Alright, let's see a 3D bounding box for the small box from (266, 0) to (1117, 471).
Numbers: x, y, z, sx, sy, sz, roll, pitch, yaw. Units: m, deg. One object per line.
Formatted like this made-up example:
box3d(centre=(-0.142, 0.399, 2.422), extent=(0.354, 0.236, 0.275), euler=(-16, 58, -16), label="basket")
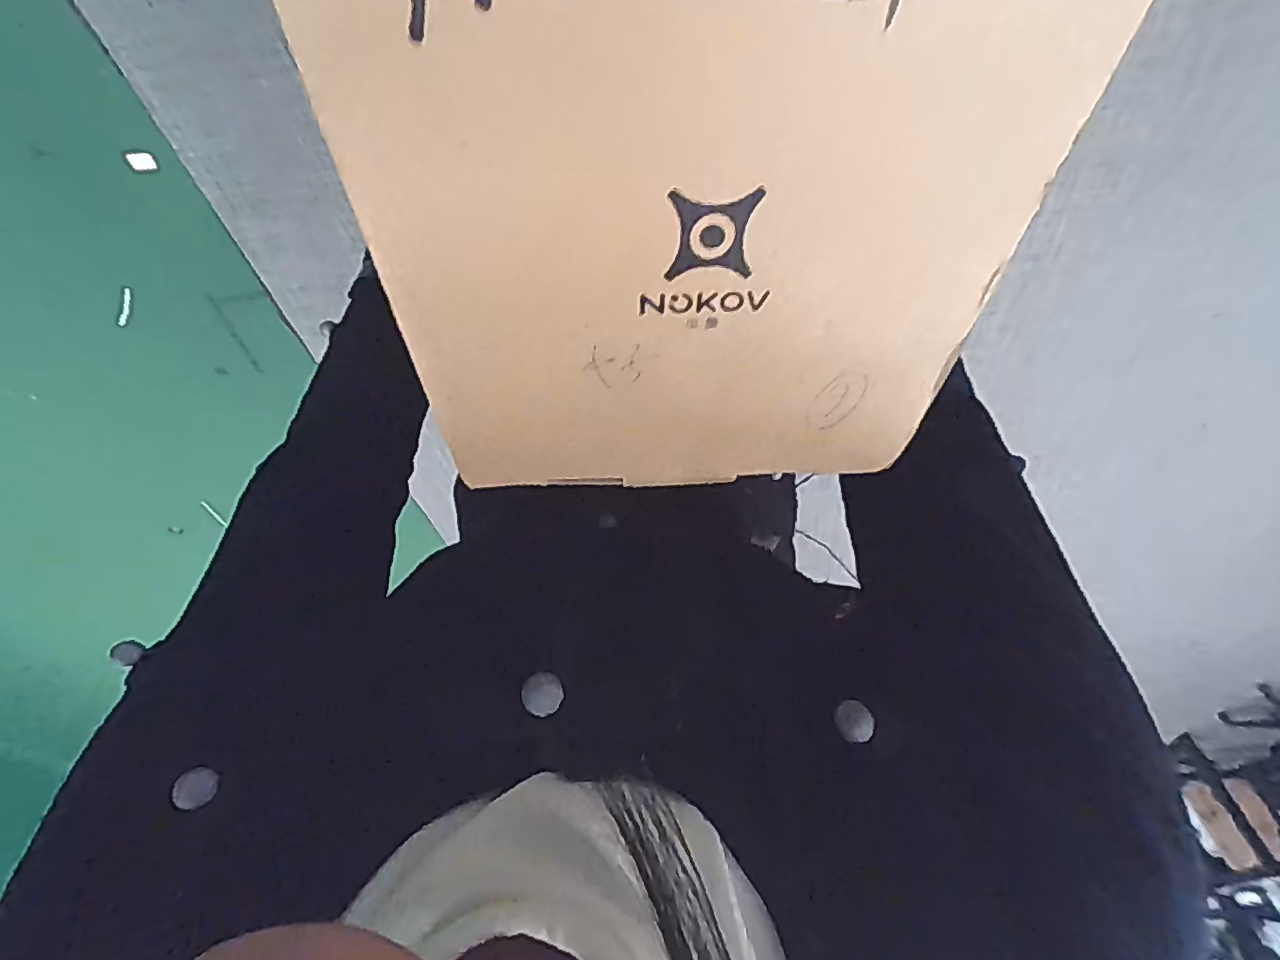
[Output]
box3d(centre=(0.006, -0.123, 0.196), extent=(0.168, 0.176, 0.179), euler=(-3, 142, -3), label="small box")
